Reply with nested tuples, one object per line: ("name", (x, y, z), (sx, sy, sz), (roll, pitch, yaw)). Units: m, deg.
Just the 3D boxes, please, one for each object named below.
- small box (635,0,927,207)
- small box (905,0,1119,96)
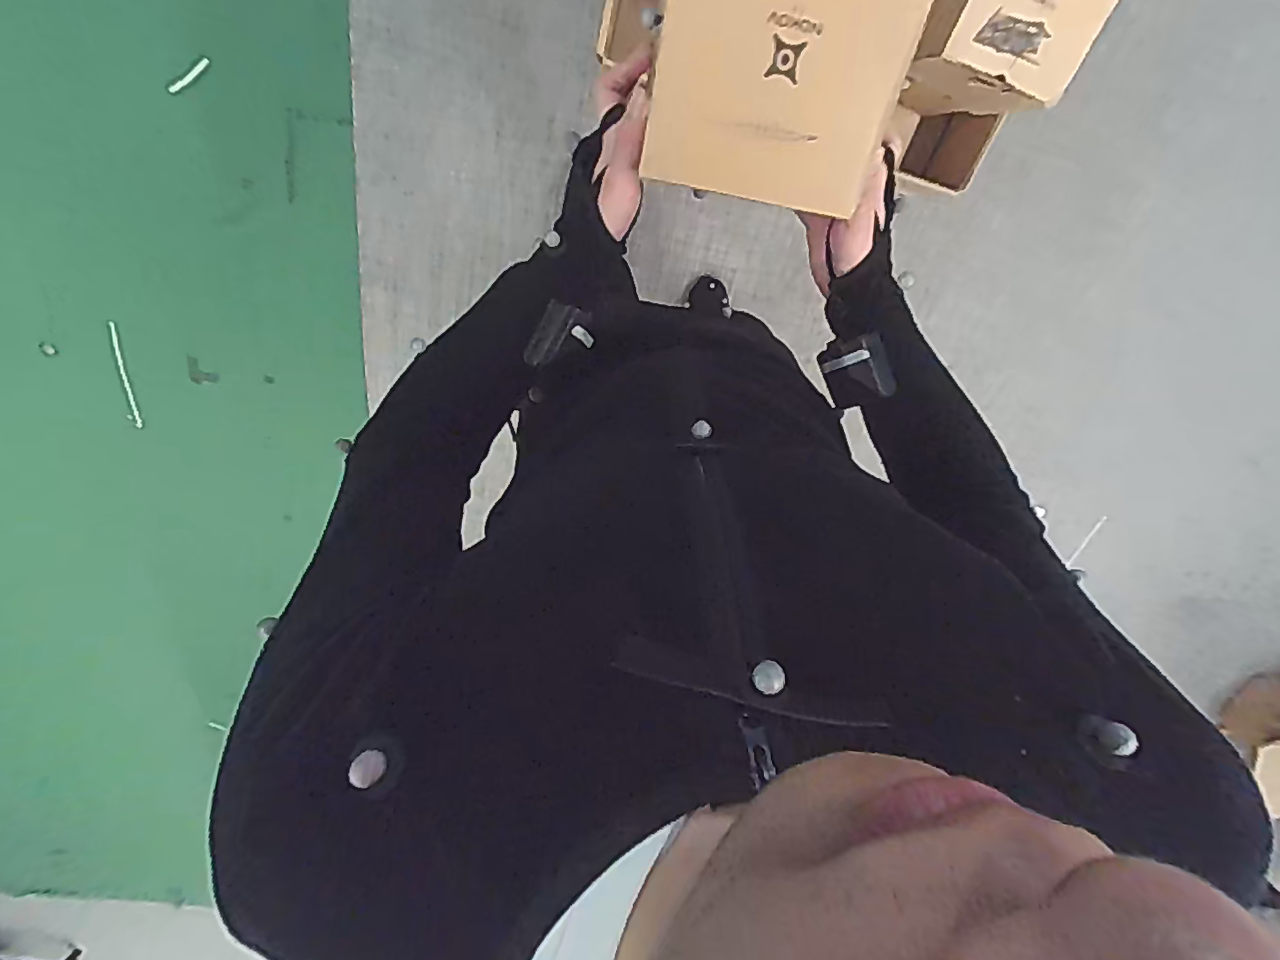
("small box", (0.090, -0.329, 0.408), (0.168, 0.176, 0.179), (9, 124, -6))
("small box", (0.445, -0.588, 0.647), (0.168, 0.176, 0.179), (14, 121, -11))
